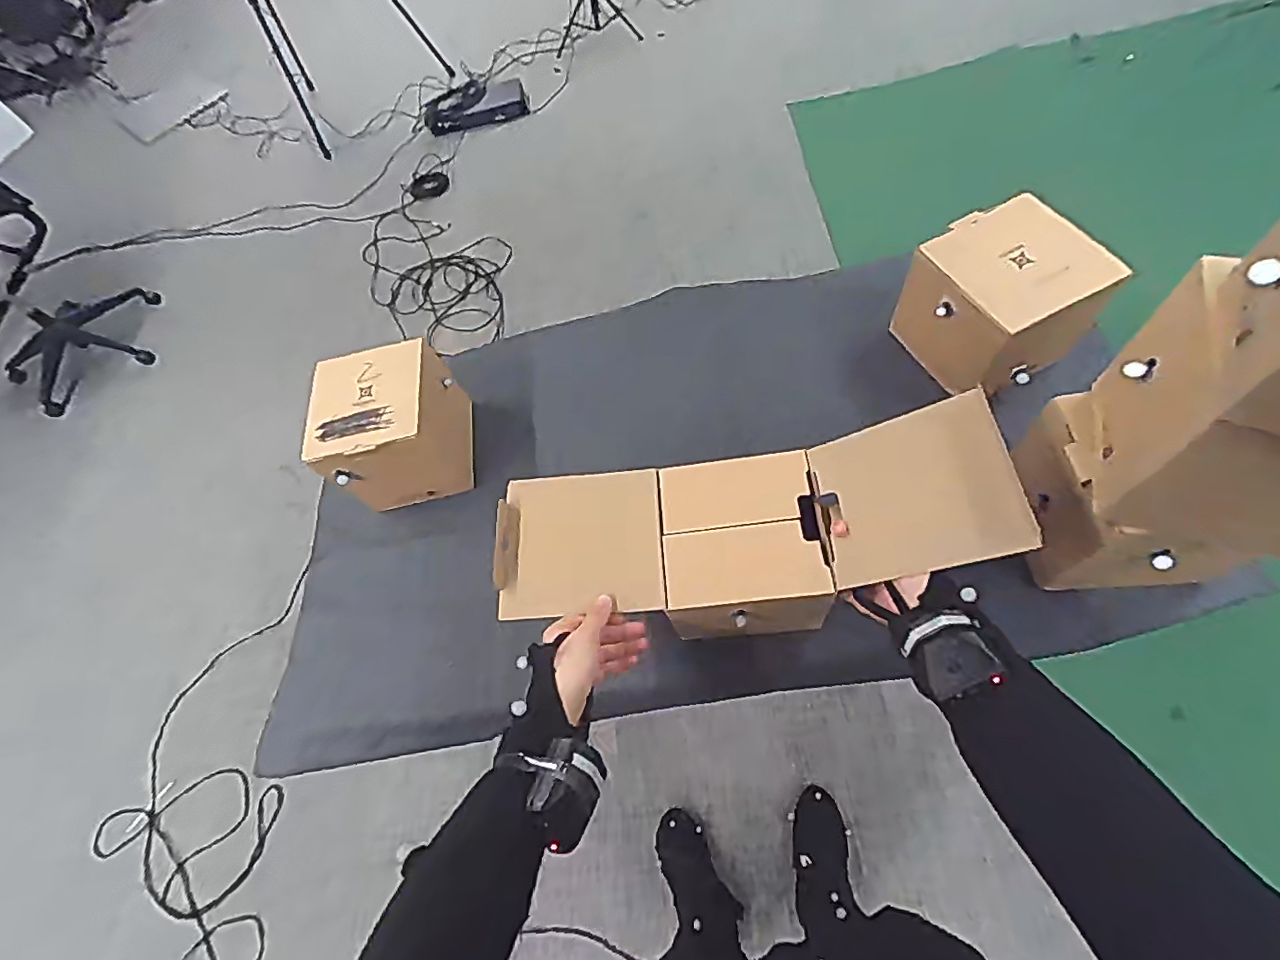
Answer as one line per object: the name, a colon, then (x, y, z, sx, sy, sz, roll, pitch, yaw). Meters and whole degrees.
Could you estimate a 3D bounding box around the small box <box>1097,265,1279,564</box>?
small box: (0.518, -0.046, 0.443, 0.179, 0.176, 0.168, 14, 64, 18)

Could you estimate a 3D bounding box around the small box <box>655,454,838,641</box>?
small box: (0.120, 0.089, 0.640, 0.179, 0.176, 0.168, -7, 63, 8)

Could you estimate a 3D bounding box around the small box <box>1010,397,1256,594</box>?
small box: (0.542, 0.020, 0.592, 0.179, 0.176, 0.168, -6, 60, 9)

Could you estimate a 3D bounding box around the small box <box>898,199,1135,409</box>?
small box: (0.483, -0.231, 0.734, 0.168, 0.176, 0.179, -26, 63, 0)

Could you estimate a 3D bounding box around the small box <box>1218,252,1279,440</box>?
small box: (0.489, -0.106, 0.291, 0.179, 0.176, 0.168, 24, 67, 23)
